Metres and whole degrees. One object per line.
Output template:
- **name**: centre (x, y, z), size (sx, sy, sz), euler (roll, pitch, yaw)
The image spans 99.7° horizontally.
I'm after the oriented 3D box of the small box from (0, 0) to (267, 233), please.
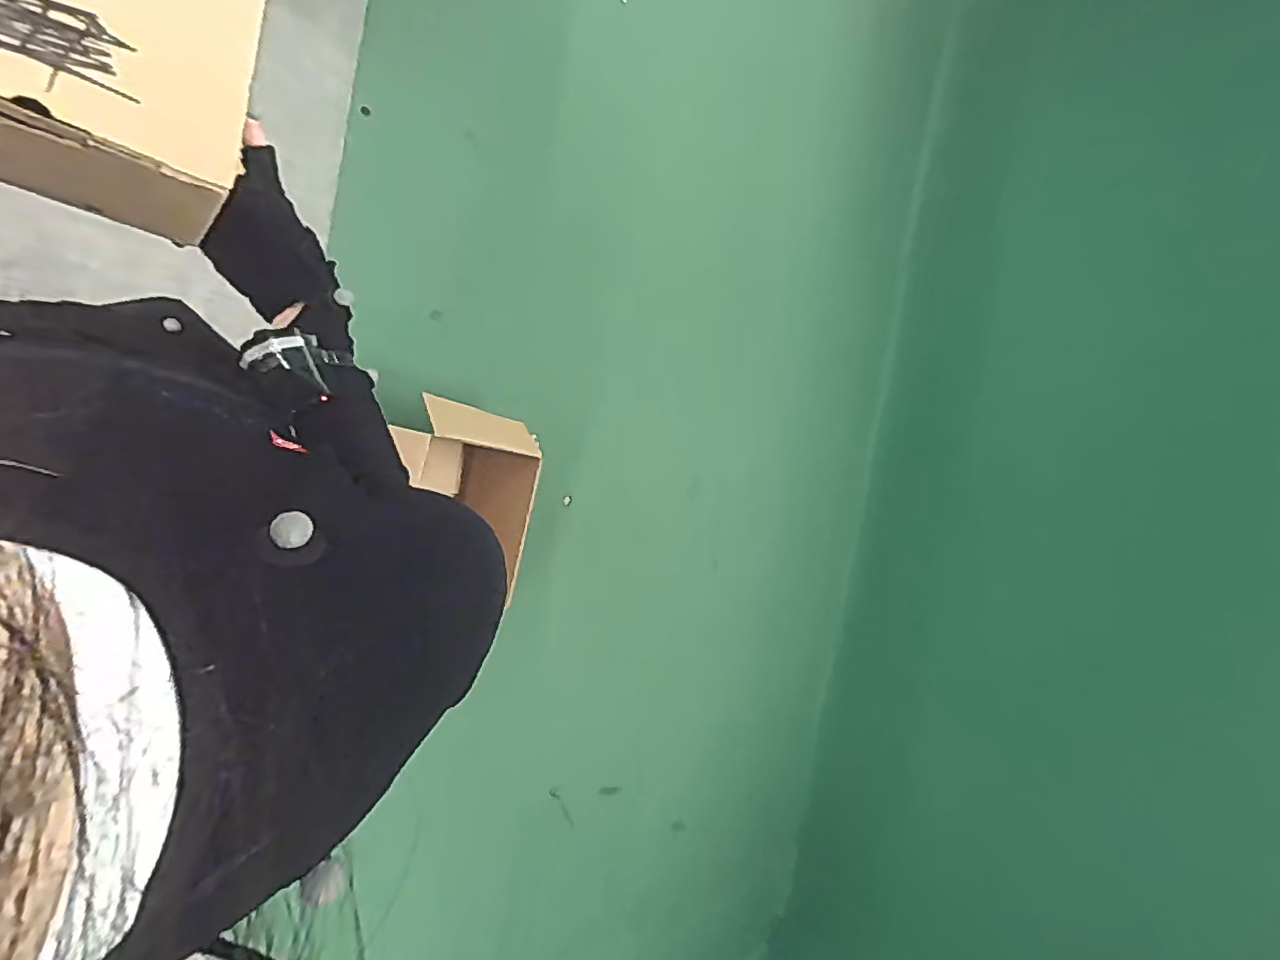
- **small box**: centre (-0.347, -0.279, 0.329), size (0.168, 0.176, 0.179), euler (10, 89, -47)
